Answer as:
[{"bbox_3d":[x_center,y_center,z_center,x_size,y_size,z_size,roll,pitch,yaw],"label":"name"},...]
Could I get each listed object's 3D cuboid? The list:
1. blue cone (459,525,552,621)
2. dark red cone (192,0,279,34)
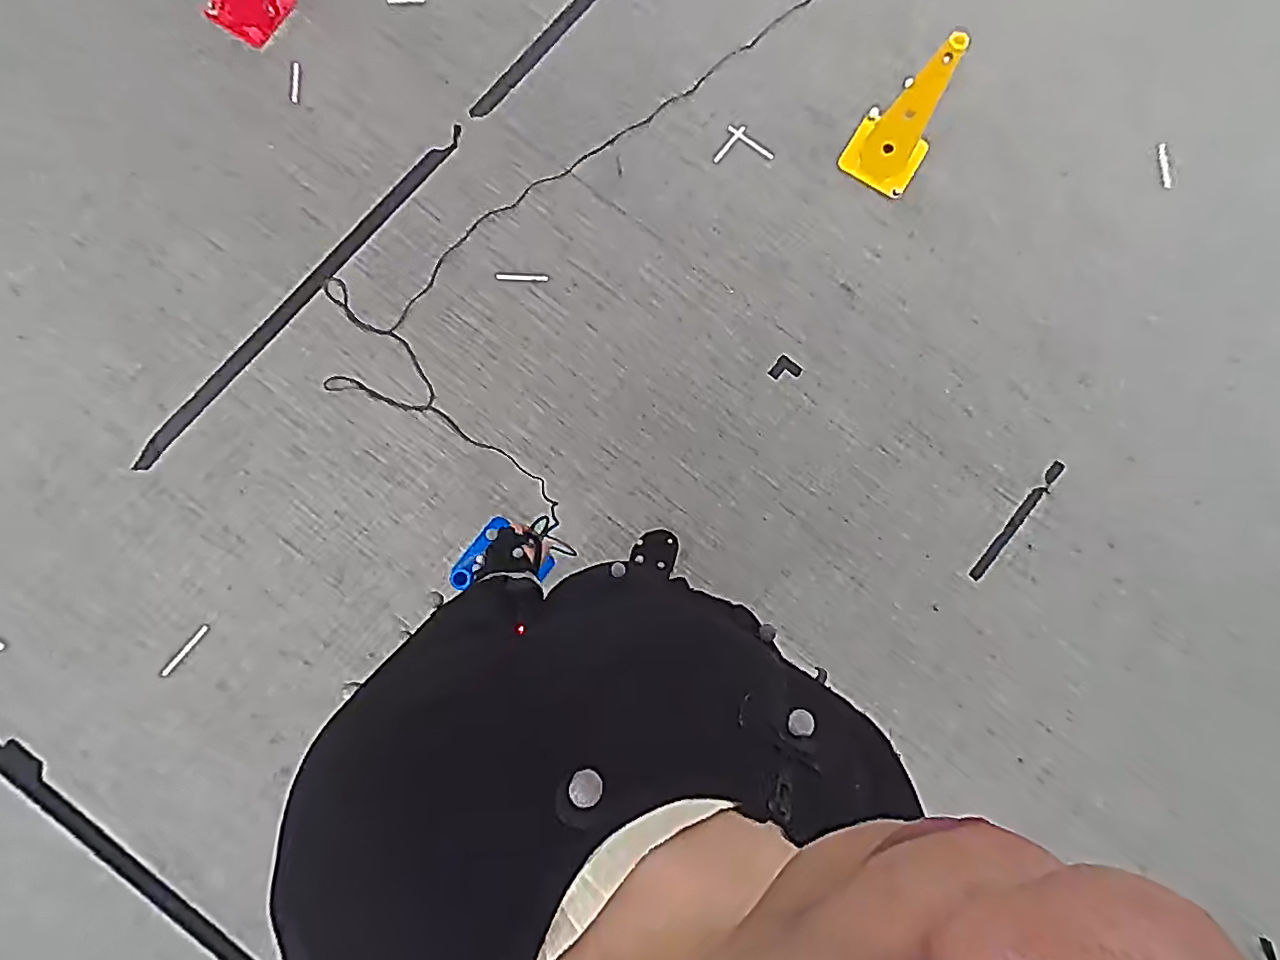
[{"bbox_3d":[-0.334,0.214,1.195,0.192,0.380,0.193,39,84,2],"label":"blue cone"},{"bbox_3d":[-1.100,-1.365,1.335,0.201,0.394,0.202,31,84,1],"label":"dark red cone"}]
